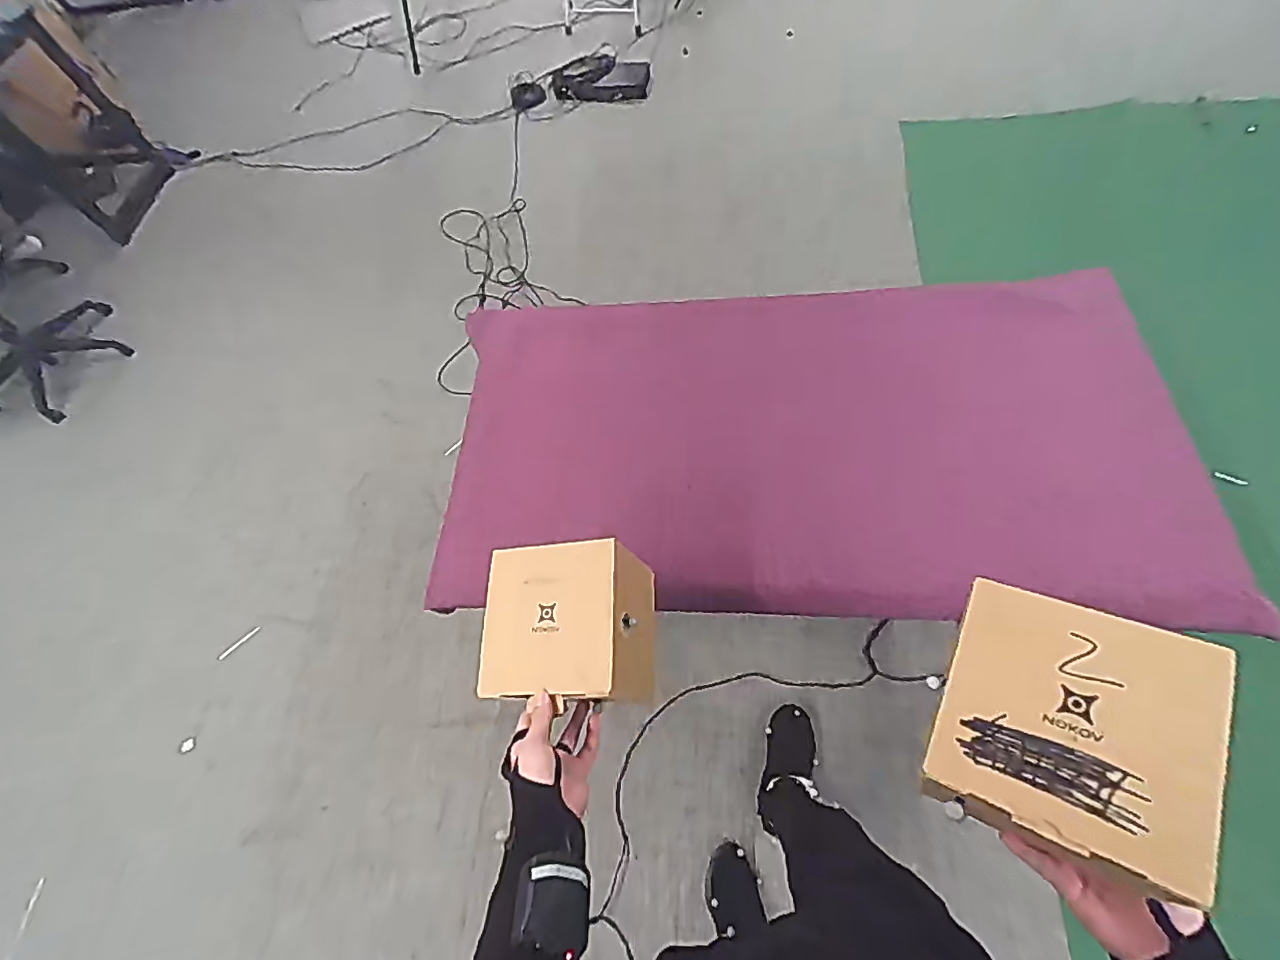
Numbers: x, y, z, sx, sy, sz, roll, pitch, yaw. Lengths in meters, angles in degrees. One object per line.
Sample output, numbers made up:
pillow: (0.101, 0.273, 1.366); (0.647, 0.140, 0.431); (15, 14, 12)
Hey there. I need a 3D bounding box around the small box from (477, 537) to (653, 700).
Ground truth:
small box: (-0.083, 0.186, 0.693); (0.168, 0.176, 0.179); (-7, 64, 16)
